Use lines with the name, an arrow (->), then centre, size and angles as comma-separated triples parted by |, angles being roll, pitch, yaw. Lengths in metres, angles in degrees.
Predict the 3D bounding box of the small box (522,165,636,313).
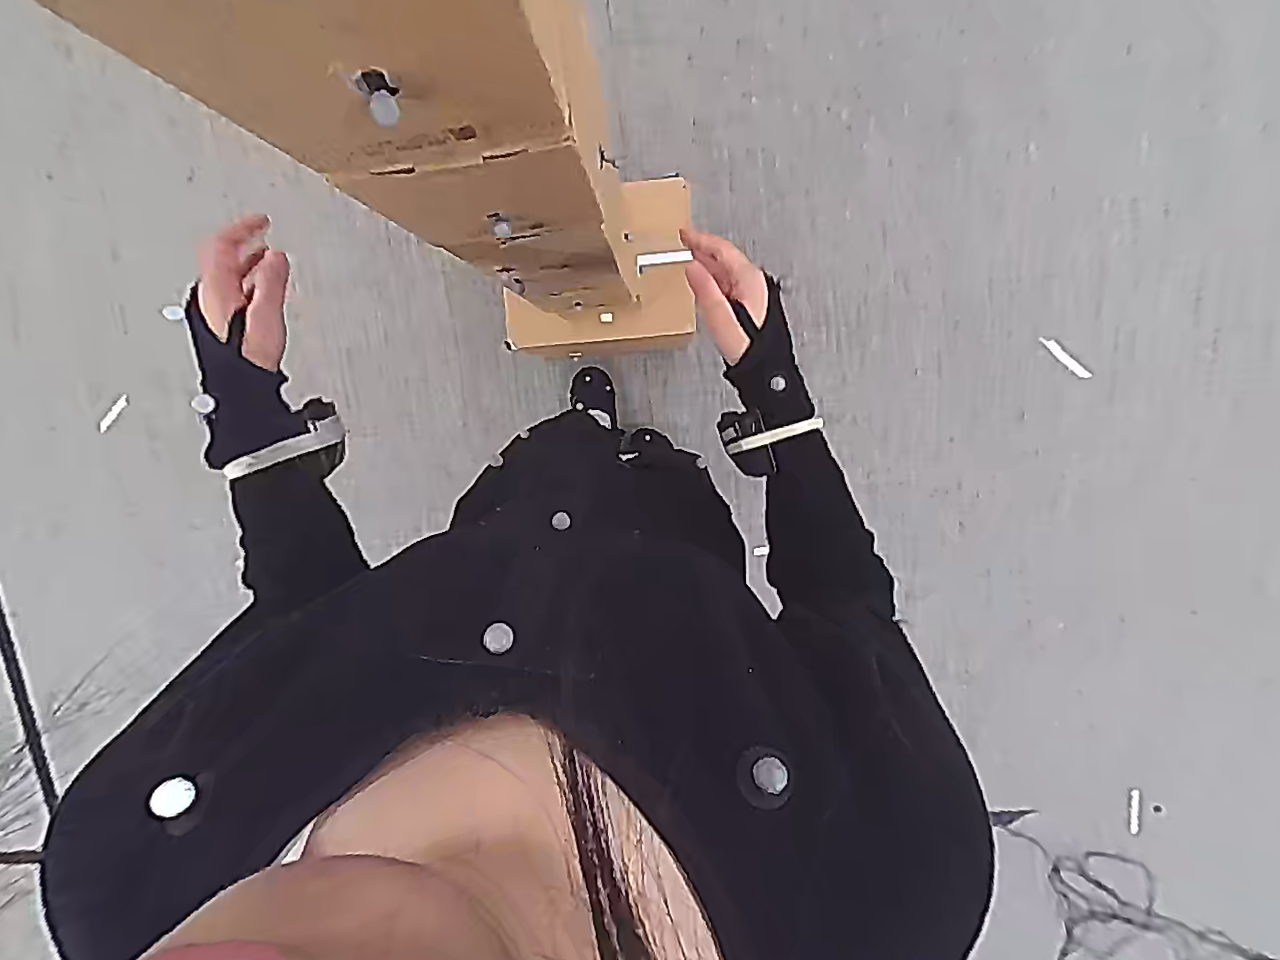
small box -> -0.099, -0.384, 0.889 | 0.168, 0.176, 0.179 | -6, 100, 4

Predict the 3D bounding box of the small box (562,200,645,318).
small box -> -0.088, -0.417, 1.047 | 0.179, 0.176, 0.168 | -7, 99, 3

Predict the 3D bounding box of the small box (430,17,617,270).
small box -> -0.116, -0.327, 0.566 | 0.168, 0.176, 0.179 | -3, 98, 3

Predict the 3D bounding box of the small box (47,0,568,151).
small box -> -0.136, -0.275, 0.242 | 0.168, 0.176, 0.179 | -7, 100, 4

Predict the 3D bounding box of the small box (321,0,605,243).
small box -> -0.123, -0.299, 0.404 | 0.168, 0.176, 0.179 | -6, 100, 5
